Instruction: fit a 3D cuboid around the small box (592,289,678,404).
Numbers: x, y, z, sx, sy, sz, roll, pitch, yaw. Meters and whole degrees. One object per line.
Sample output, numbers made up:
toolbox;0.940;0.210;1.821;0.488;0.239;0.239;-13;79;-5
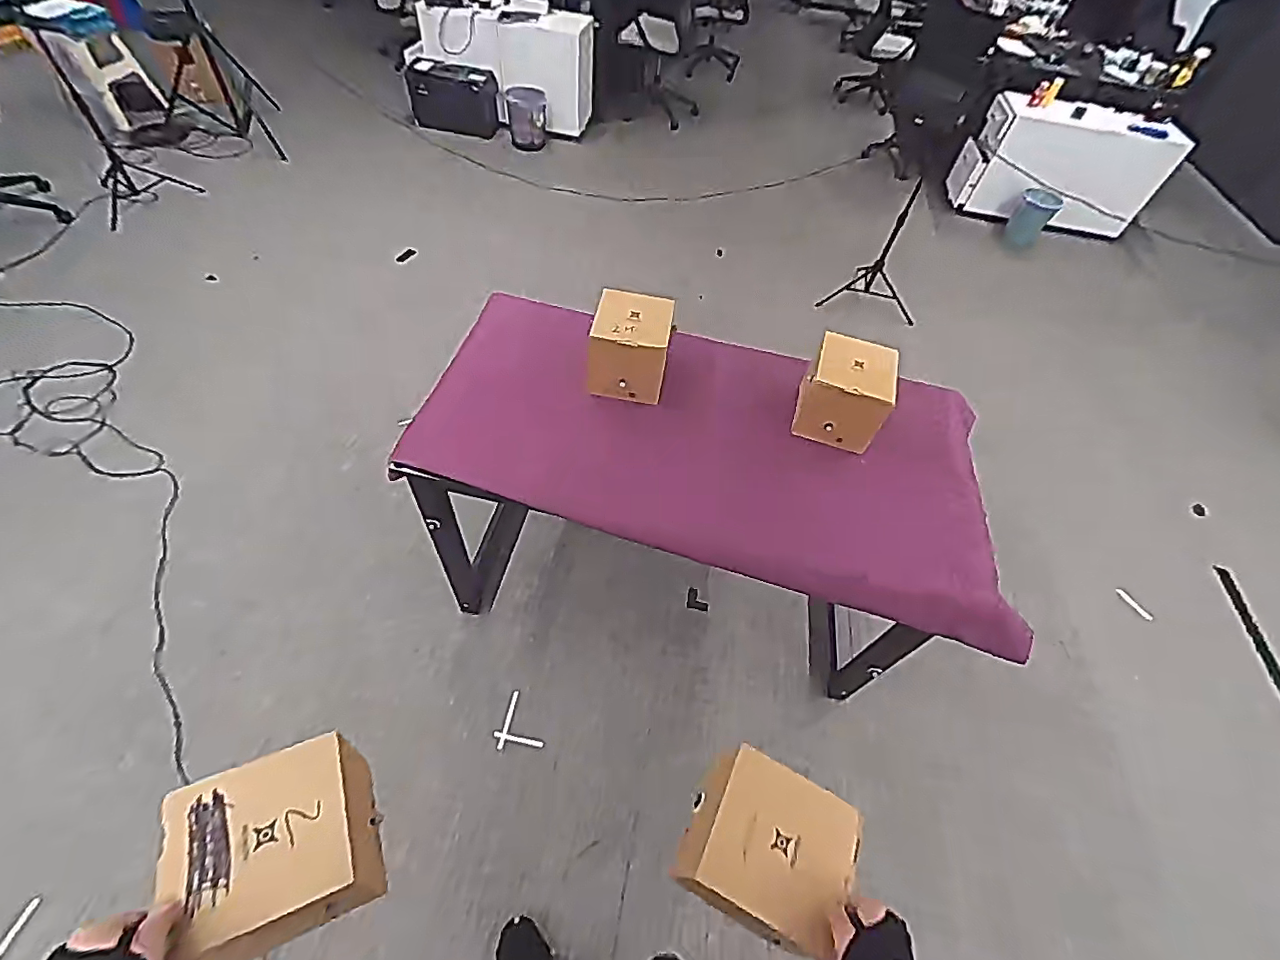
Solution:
small box;-0.015;-0.304;1.234;0.168;0.176;0.179;10;53;1

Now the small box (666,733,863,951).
small box;0.157;0.466;0.713;0.179;0.176;0.168;28;54;7

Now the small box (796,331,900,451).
small box;0.461;-0.197;1.211;0.168;0.176;0.179;17;55;7
